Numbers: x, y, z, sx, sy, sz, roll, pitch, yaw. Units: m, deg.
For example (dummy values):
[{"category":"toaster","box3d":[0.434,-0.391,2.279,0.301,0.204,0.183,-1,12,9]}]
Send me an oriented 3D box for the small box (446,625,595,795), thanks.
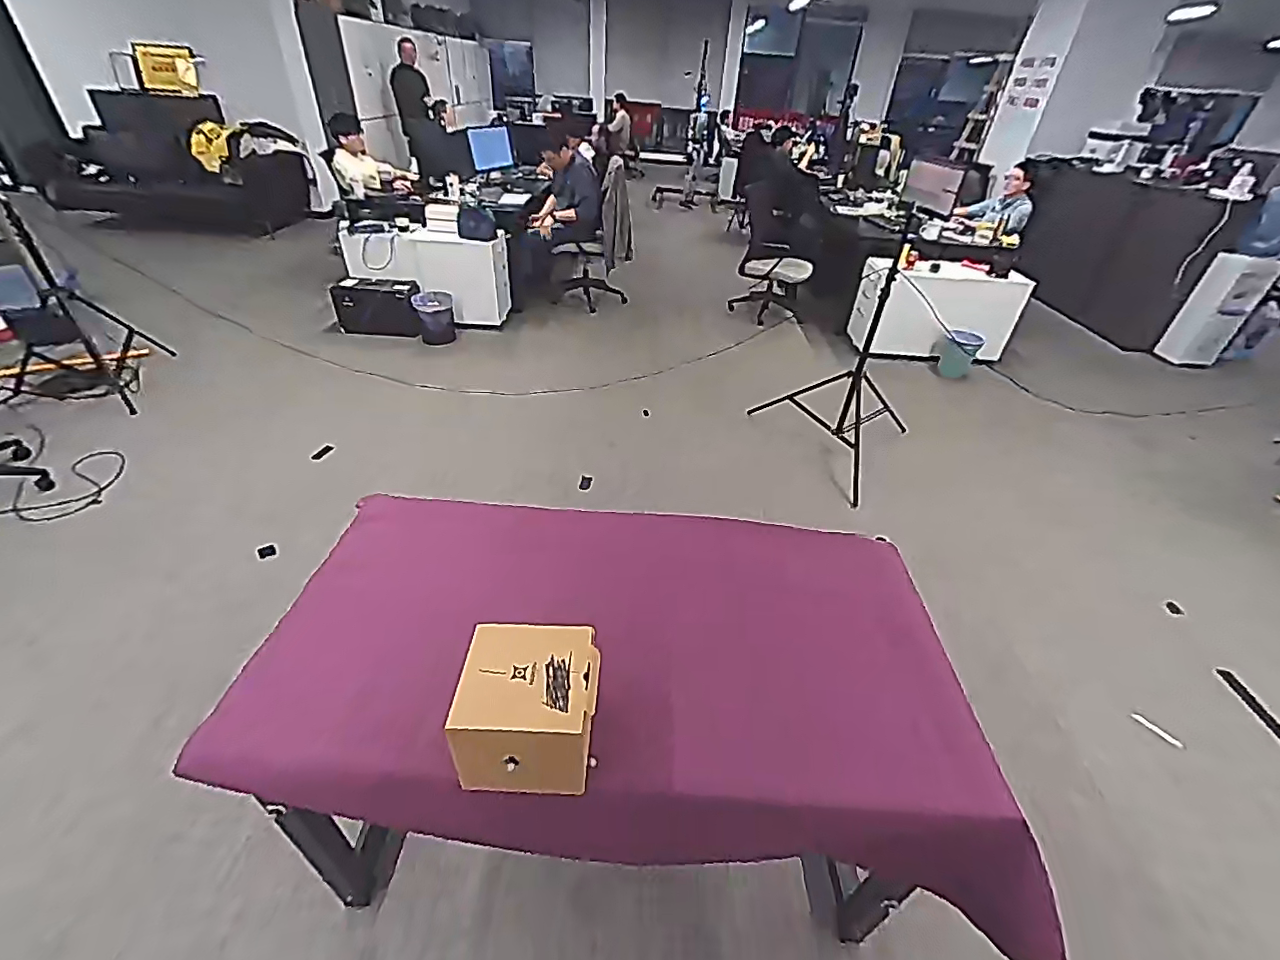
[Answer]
[{"category":"small box","box3d":[-0.159,0.334,0.786,0.179,0.176,0.168,3,35,-1]}]
